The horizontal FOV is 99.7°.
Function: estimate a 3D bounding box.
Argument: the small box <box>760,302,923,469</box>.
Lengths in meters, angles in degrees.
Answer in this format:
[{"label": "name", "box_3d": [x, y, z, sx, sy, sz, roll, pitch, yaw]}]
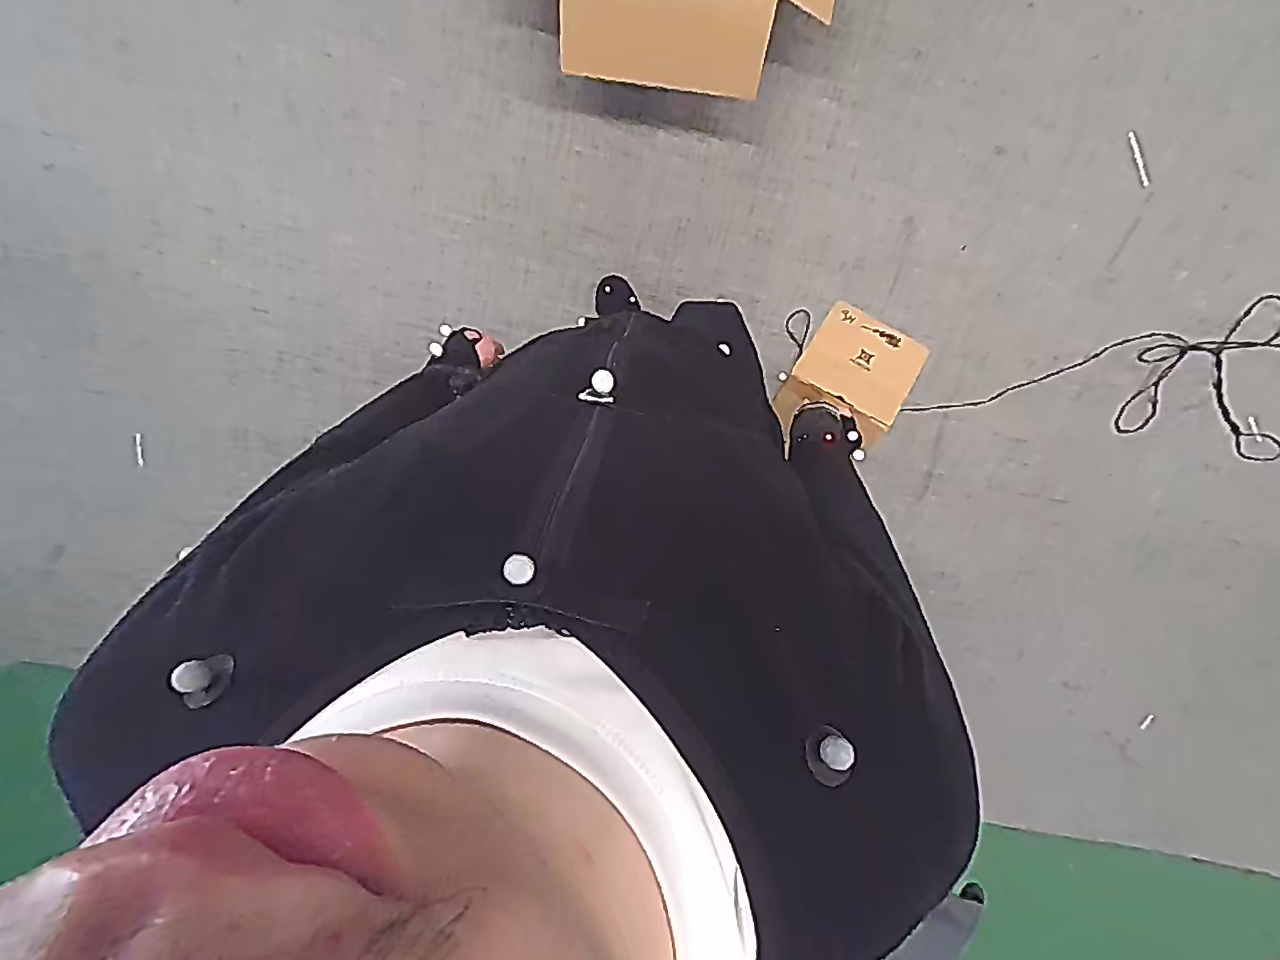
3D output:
[{"label": "small box", "box_3d": [0.320, -0.147, 0.896, 0.168, 0.176, 0.179, 35, 68, 7]}]
